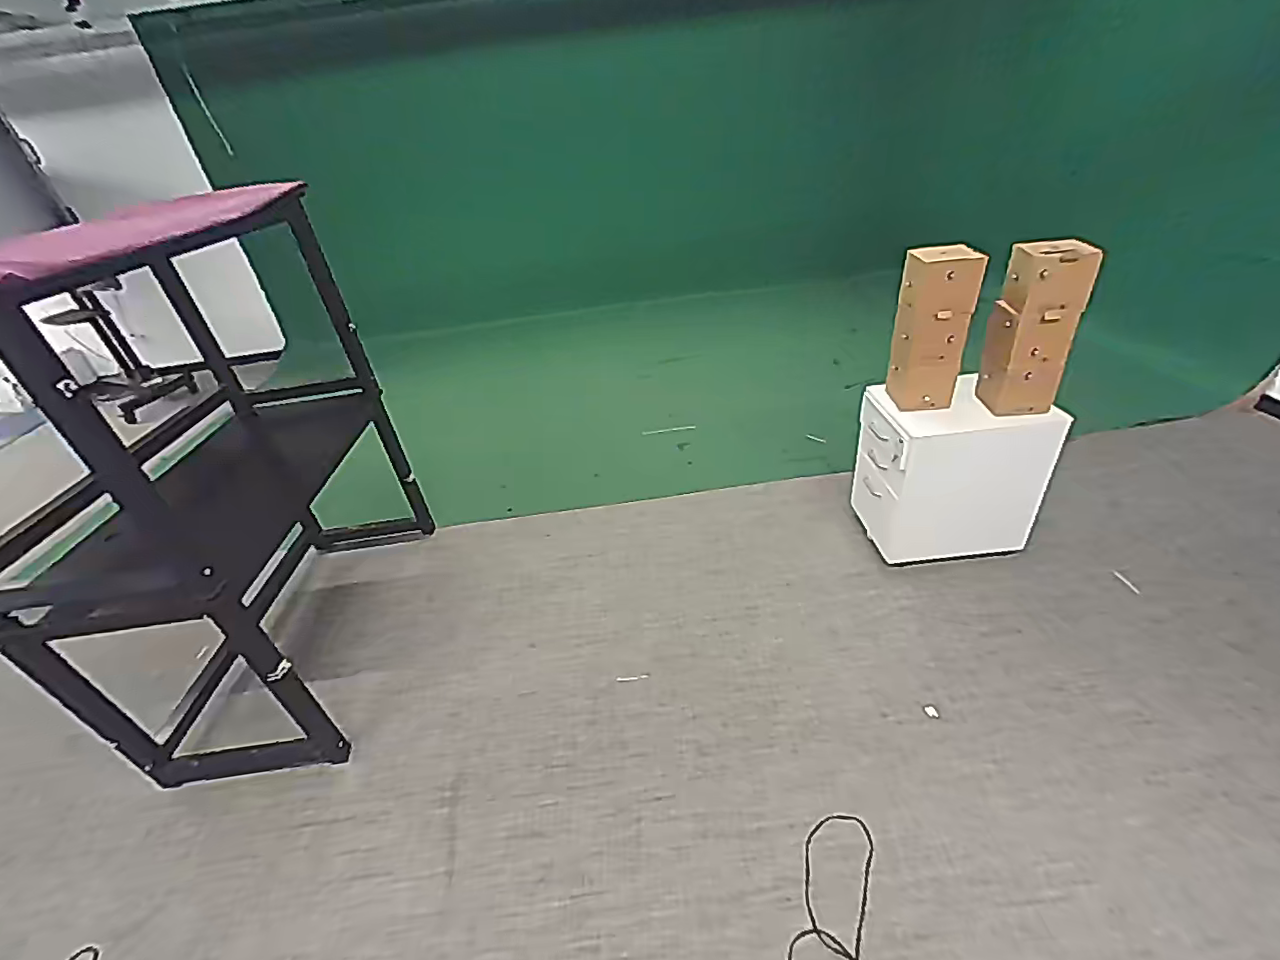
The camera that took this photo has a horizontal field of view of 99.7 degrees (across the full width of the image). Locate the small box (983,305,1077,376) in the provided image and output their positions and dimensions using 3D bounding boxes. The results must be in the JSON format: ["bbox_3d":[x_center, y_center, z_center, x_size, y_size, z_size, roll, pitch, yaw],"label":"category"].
[{"bbox_3d":[1.221,-0.442,1.712,0.168,0.176,0.179,-3,34,7],"label":"small box"}]

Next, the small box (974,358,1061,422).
[{"bbox_3d":[1.242,-0.304,1.796,0.168,0.176,0.179,-3,33,8],"label":"small box"}]

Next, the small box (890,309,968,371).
[{"bbox_3d":[0.957,-0.468,1.804,0.168,0.176,0.179,-2,33,5],"label":"small box"}]

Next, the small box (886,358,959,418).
[{"bbox_3d":[0.977,-0.332,1.891,0.168,0.176,0.179,-3,35,6],"label":"small box"}]

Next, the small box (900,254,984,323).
[{"bbox_3d":[0.944,-0.605,1.713,0.179,0.176,0.168,-2,35,4],"label":"small box"}]
